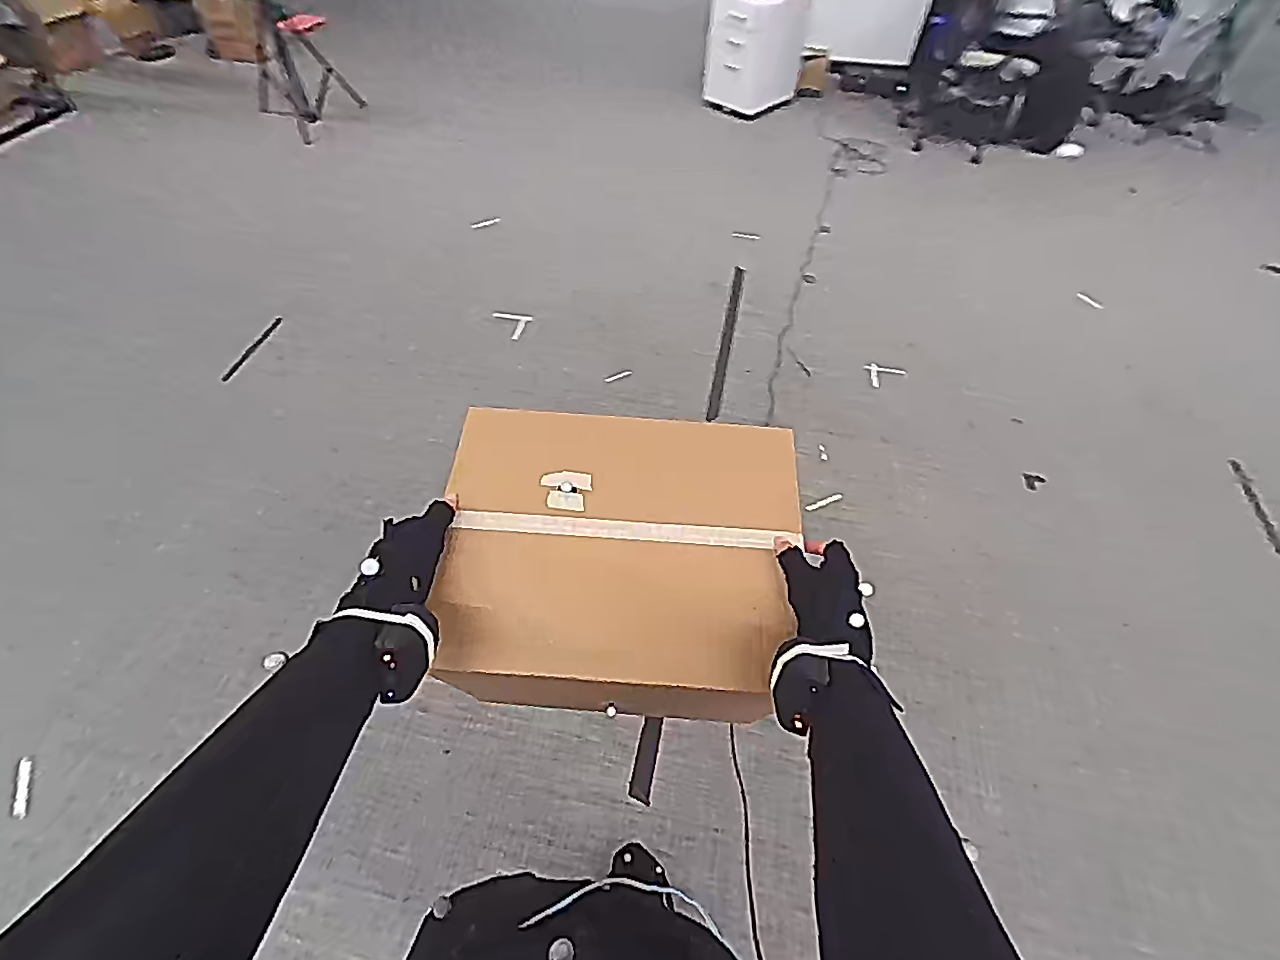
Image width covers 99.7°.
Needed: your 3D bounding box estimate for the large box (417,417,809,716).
[{"bbox_3d":[-0.019,0.136,0.741,0.408,0.320,0.320,4,61,2],"label":"large box"}]
